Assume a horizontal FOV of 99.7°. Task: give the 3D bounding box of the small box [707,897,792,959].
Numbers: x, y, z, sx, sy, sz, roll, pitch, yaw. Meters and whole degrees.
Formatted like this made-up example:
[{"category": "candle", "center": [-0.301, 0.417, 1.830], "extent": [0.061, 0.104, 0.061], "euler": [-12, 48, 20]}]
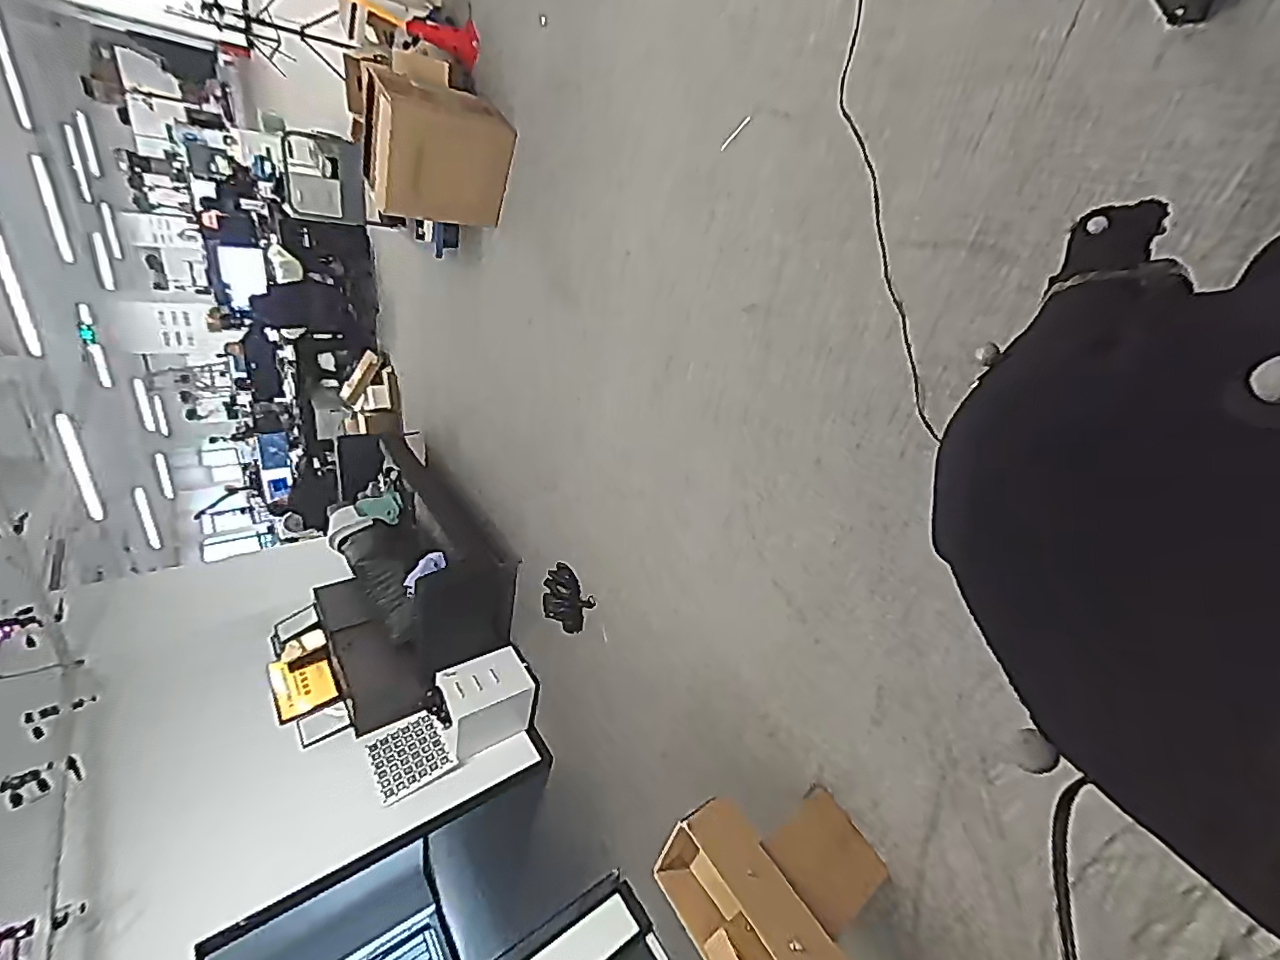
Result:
[{"category": "small box", "center": [0.338, 1.434, 1.661], "extent": [0.168, 0.176, 0.179], "euler": [47, 136, 38]}]
